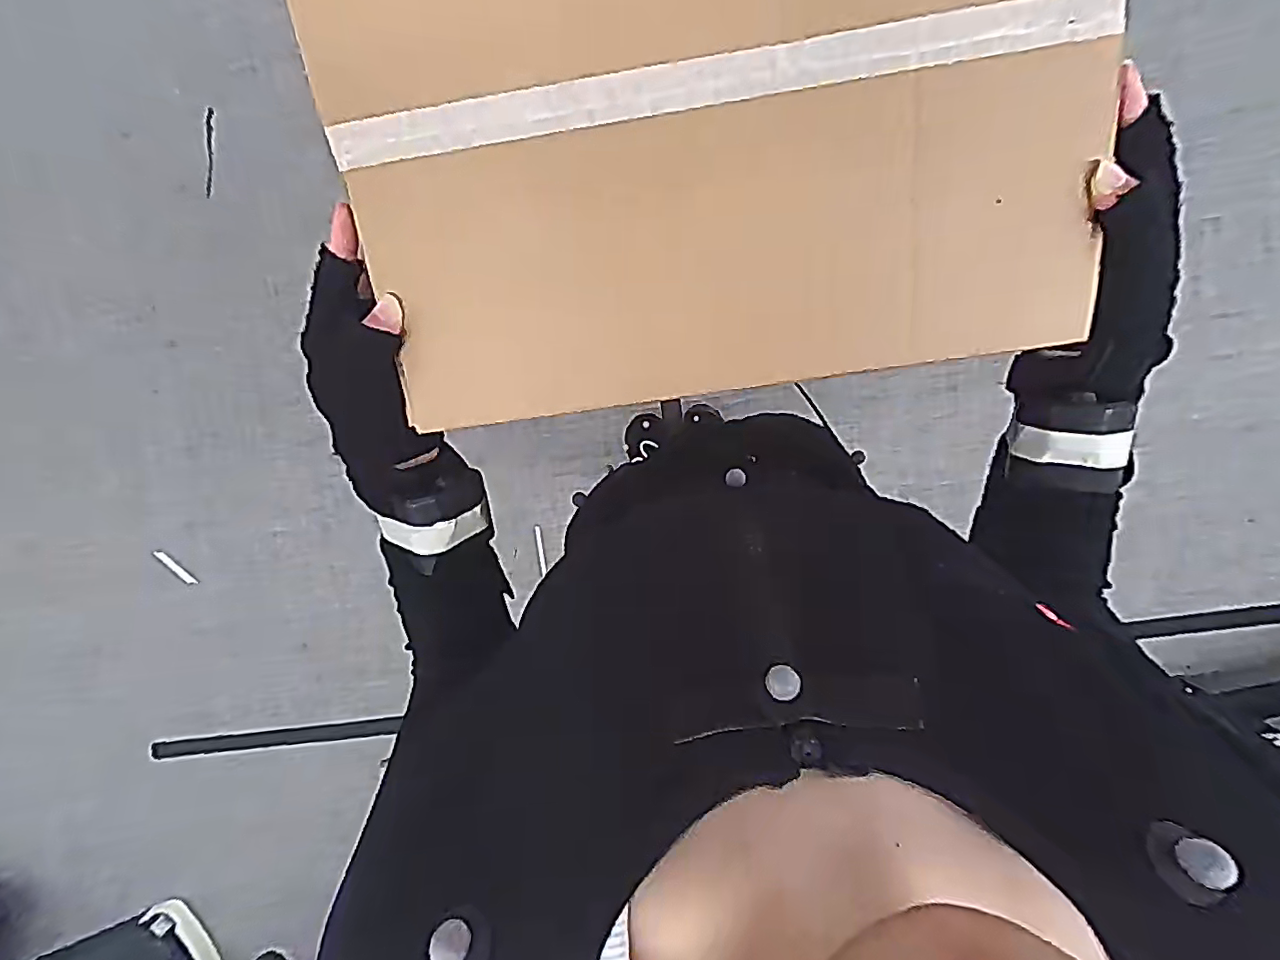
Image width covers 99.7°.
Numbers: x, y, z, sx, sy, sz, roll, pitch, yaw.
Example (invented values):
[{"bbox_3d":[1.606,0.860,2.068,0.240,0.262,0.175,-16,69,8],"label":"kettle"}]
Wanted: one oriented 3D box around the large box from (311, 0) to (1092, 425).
[{"bbox_3d":[0.037,-0.251,0.434,0.408,0.320,0.320,-8,108,3],"label":"large box"}]
